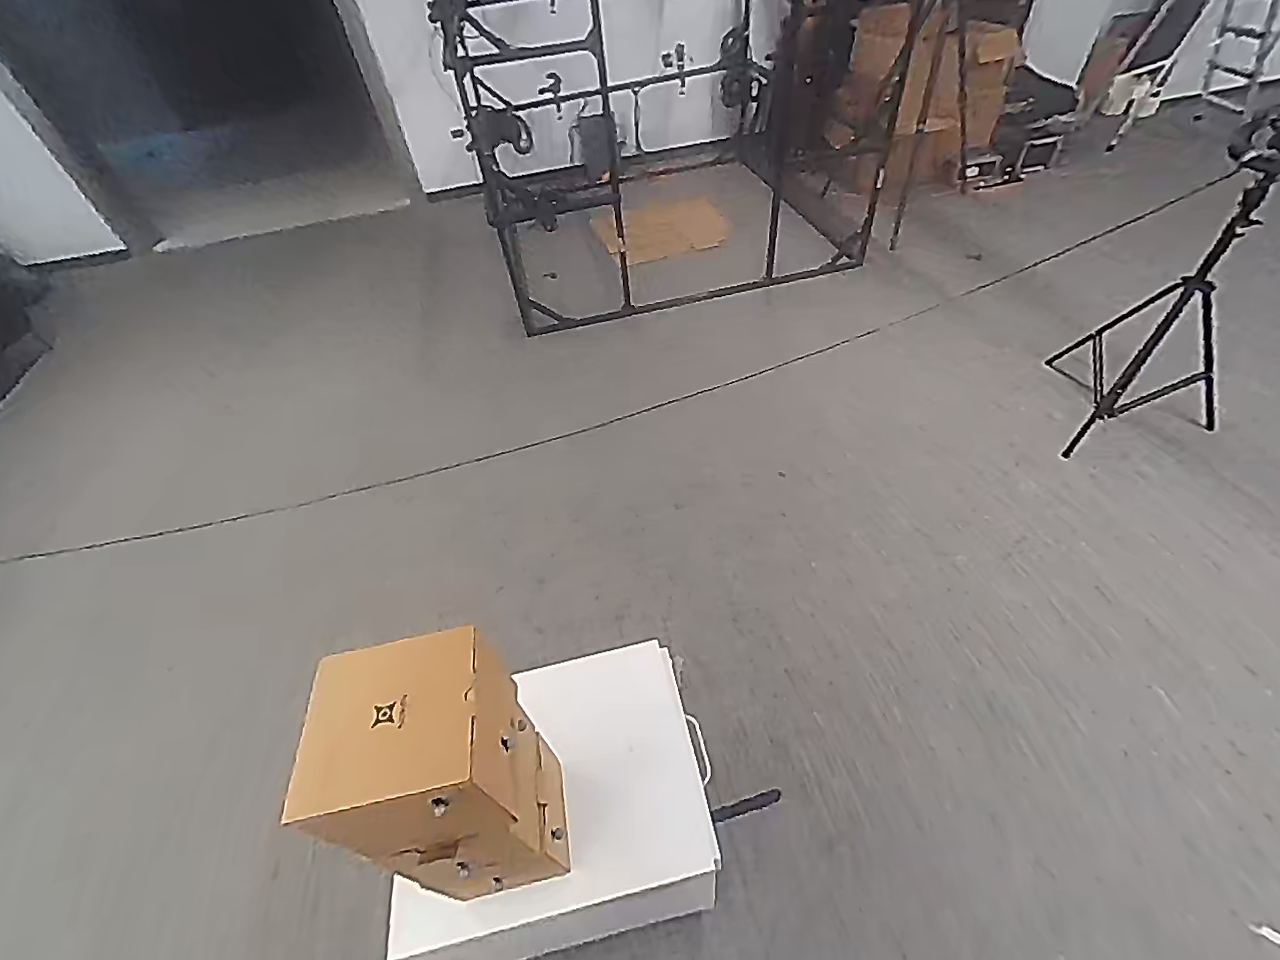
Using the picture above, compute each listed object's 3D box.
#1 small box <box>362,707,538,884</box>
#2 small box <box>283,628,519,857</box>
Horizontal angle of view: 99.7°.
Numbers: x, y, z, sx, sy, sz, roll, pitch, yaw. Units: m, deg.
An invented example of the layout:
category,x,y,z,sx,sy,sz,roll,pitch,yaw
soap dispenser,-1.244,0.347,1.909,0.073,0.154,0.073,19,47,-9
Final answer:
category,x,y,z,sx,sy,sz,roll,pitch,yaw
small box,-0.236,0.406,0.721,0.168,0.176,0.179,-11,46,-2
small box,-0.243,0.294,0.602,0.179,0.176,0.168,-11,46,-4
